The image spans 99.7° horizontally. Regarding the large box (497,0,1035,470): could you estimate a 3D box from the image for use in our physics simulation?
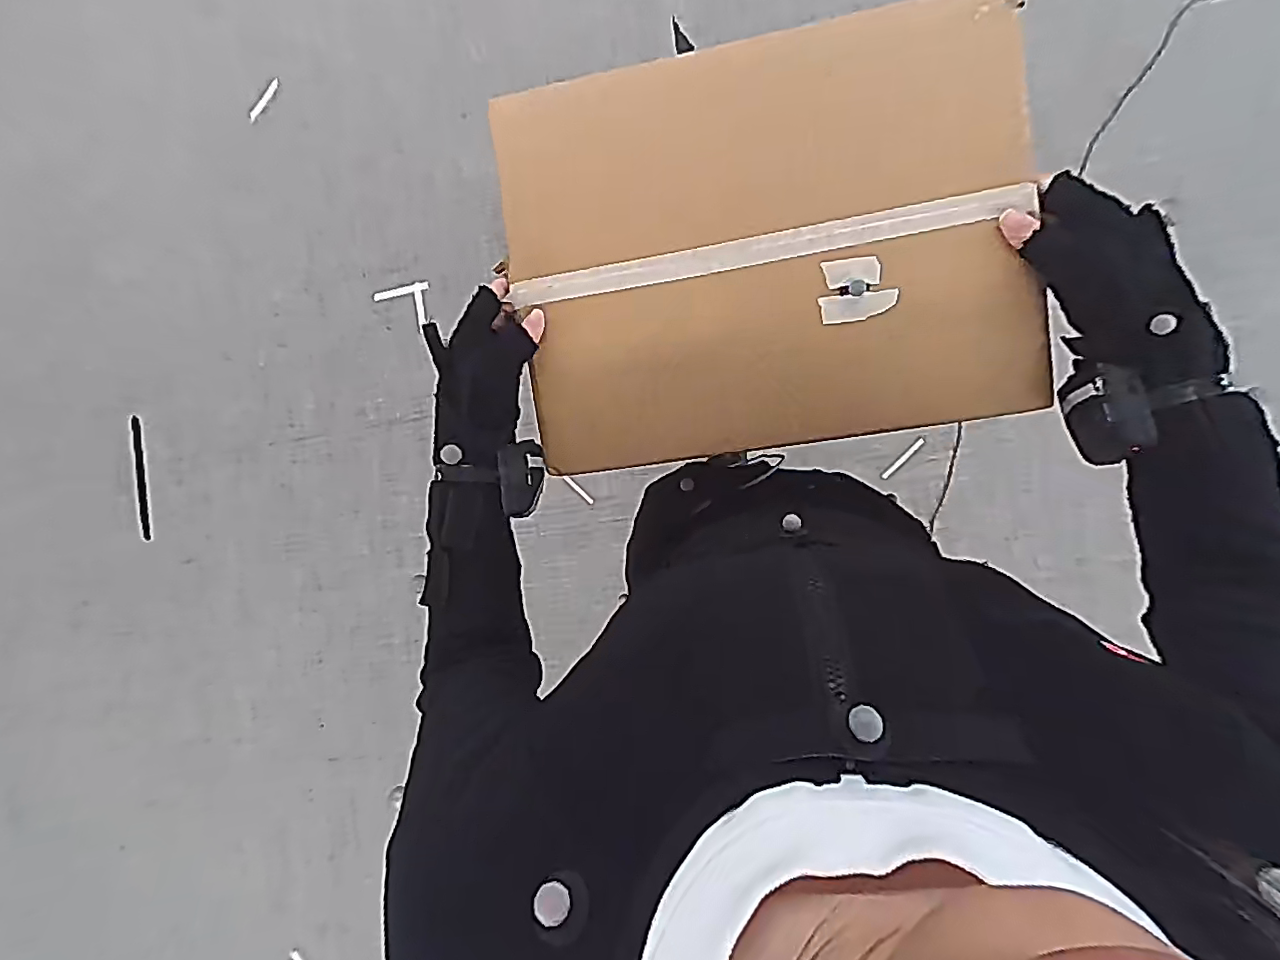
[{"bbox_3d":[0.111,-0.203,0.588,0.408,0.320,0.320,-8,96,7],"label":"large box"}]
